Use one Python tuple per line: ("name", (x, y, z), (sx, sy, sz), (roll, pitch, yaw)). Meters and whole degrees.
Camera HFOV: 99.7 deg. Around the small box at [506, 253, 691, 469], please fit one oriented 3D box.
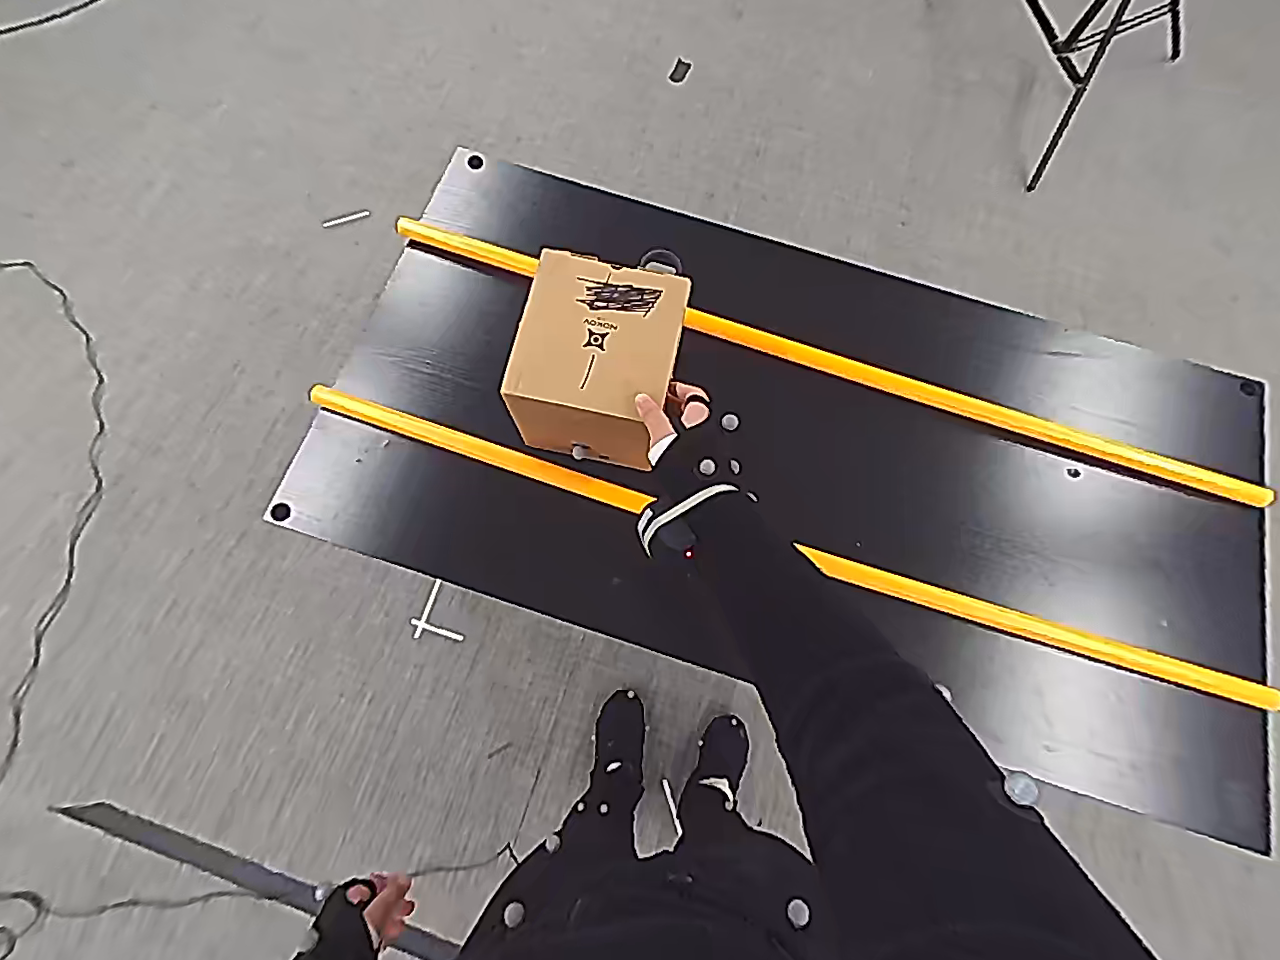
("small box", (-0.044, -0.131, 0.646), (0.168, 0.176, 0.179), (12, 75, 1))
